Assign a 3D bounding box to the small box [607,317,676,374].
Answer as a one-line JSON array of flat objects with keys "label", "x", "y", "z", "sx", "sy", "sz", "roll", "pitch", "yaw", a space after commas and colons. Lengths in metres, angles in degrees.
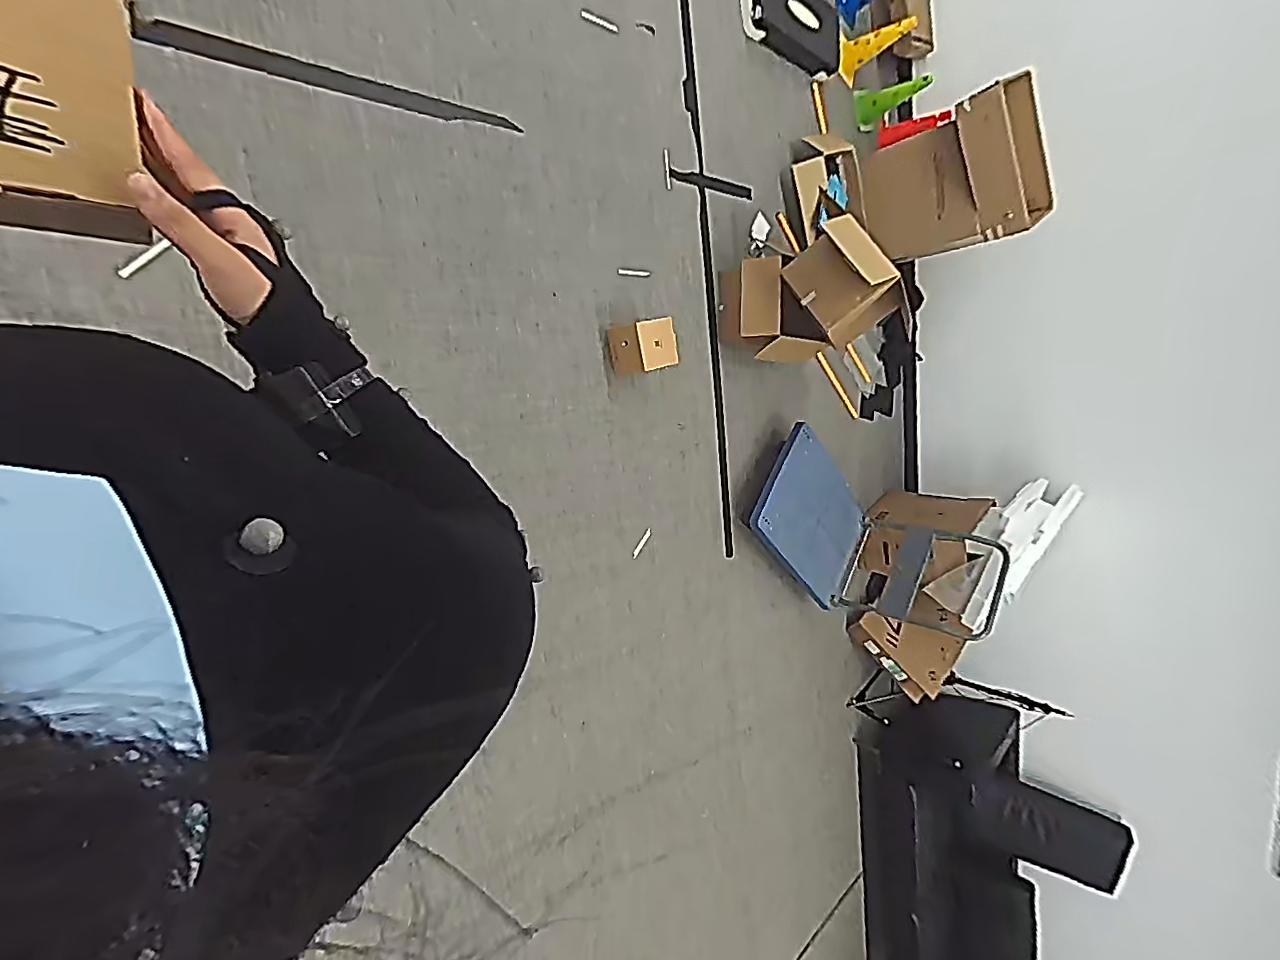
[{"label": "small box", "x": -0.001, "y": -0.477, "z": 1.923, "sx": 0.179, "sy": 0.176, "sz": 0.168, "roll": -24, "pitch": 109, "yaw": -39}]
